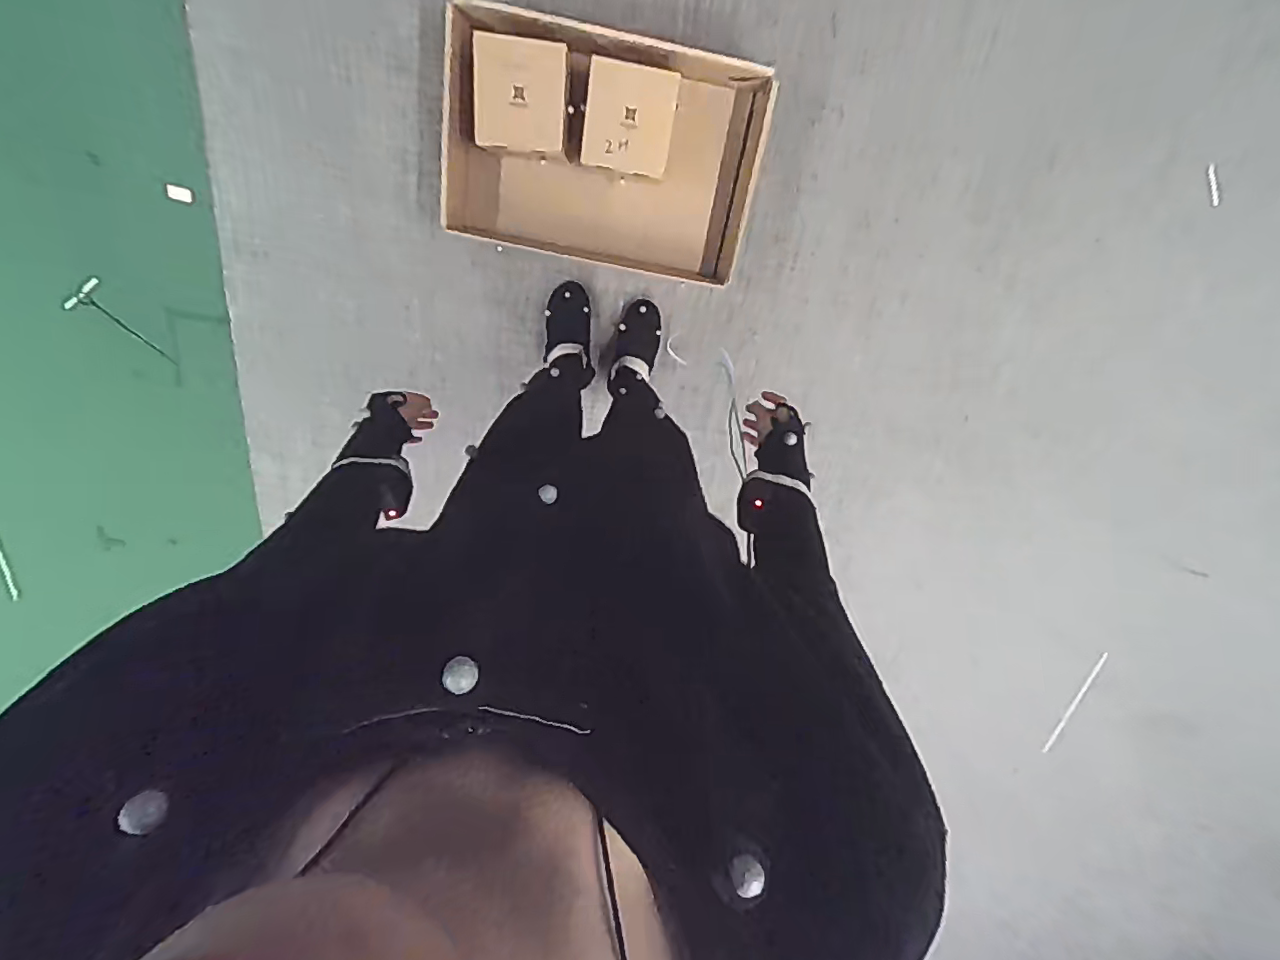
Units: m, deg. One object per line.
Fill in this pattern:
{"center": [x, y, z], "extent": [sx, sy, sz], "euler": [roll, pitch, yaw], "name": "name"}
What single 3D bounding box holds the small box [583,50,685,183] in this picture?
{"center": [-0.013, -0.709, 1.076], "extent": [0.168, 0.176, 0.179], "euler": [10, 115, -4], "name": "small box"}
